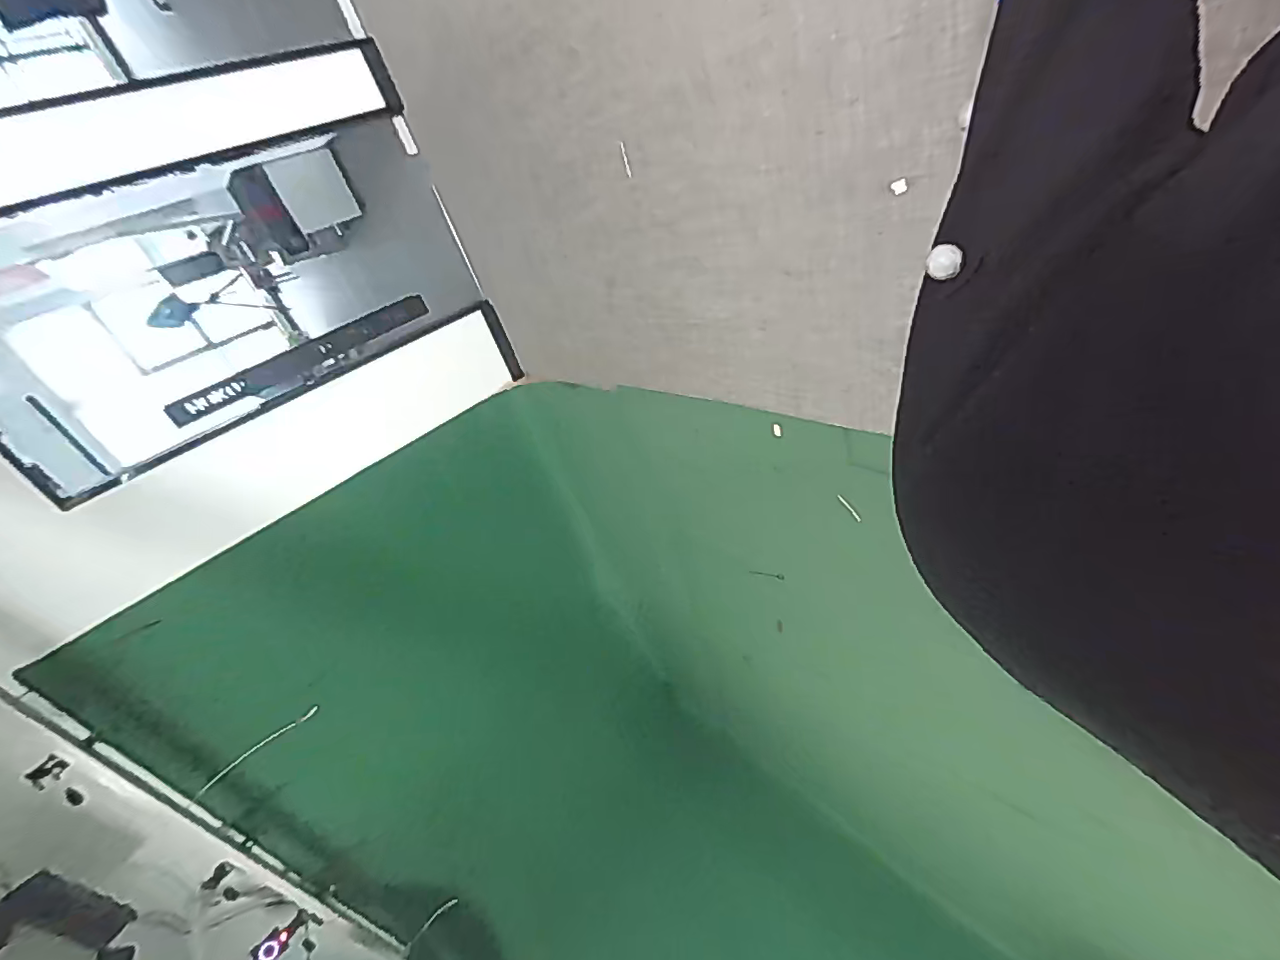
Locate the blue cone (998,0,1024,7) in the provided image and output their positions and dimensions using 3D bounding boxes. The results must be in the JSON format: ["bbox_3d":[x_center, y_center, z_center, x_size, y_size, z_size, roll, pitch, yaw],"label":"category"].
[{"bbox_3d":[0.541,-0.802,0.772,0.192,0.380,0.193,22,139,46],"label":"blue cone"}]
